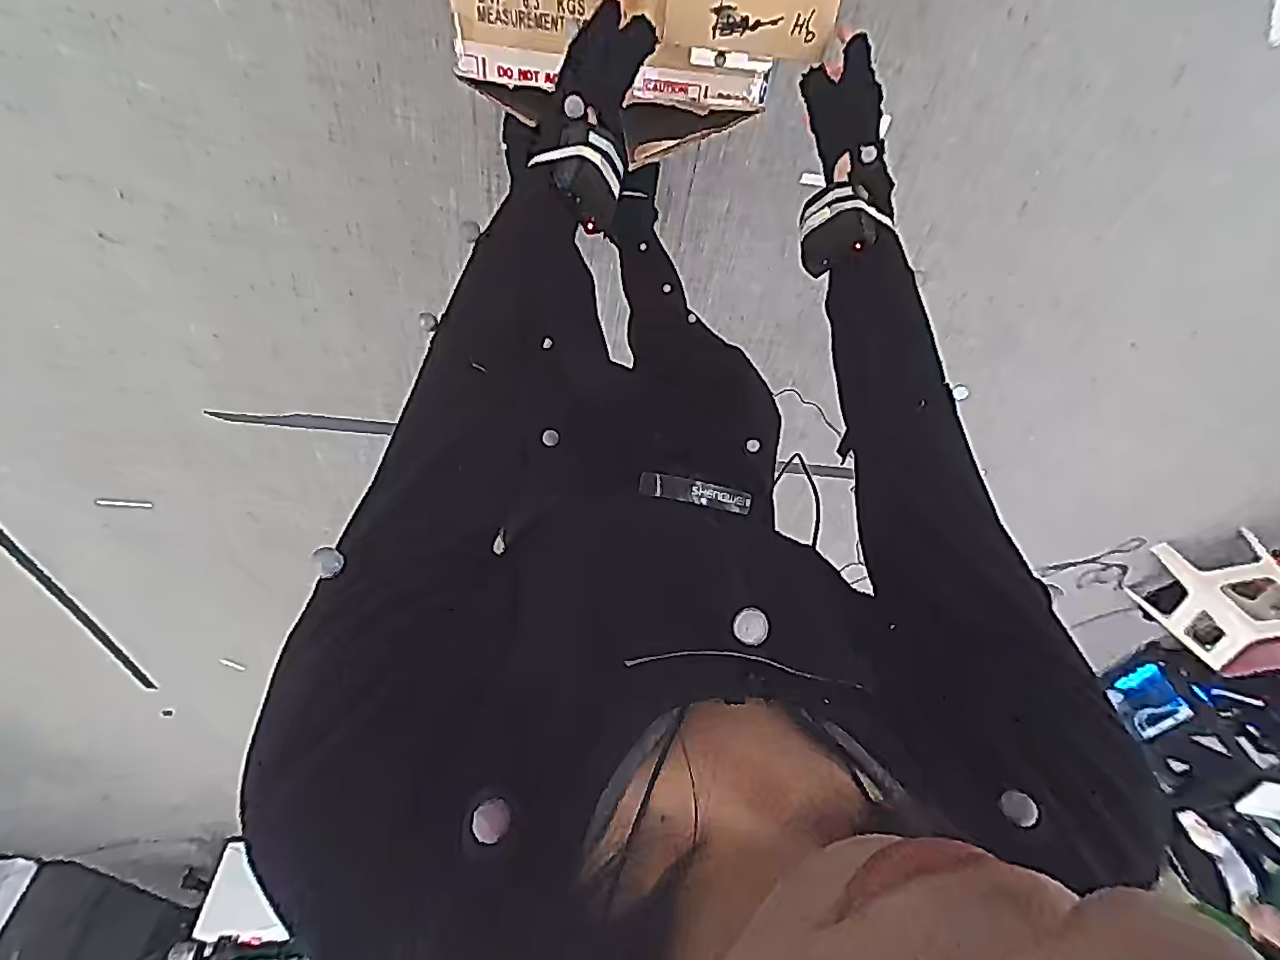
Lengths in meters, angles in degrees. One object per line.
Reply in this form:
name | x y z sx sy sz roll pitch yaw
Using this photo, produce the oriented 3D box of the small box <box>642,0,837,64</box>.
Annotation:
small box | 0.098 -0.531 0.525 0.168 0.176 0.179 0 132 -9
